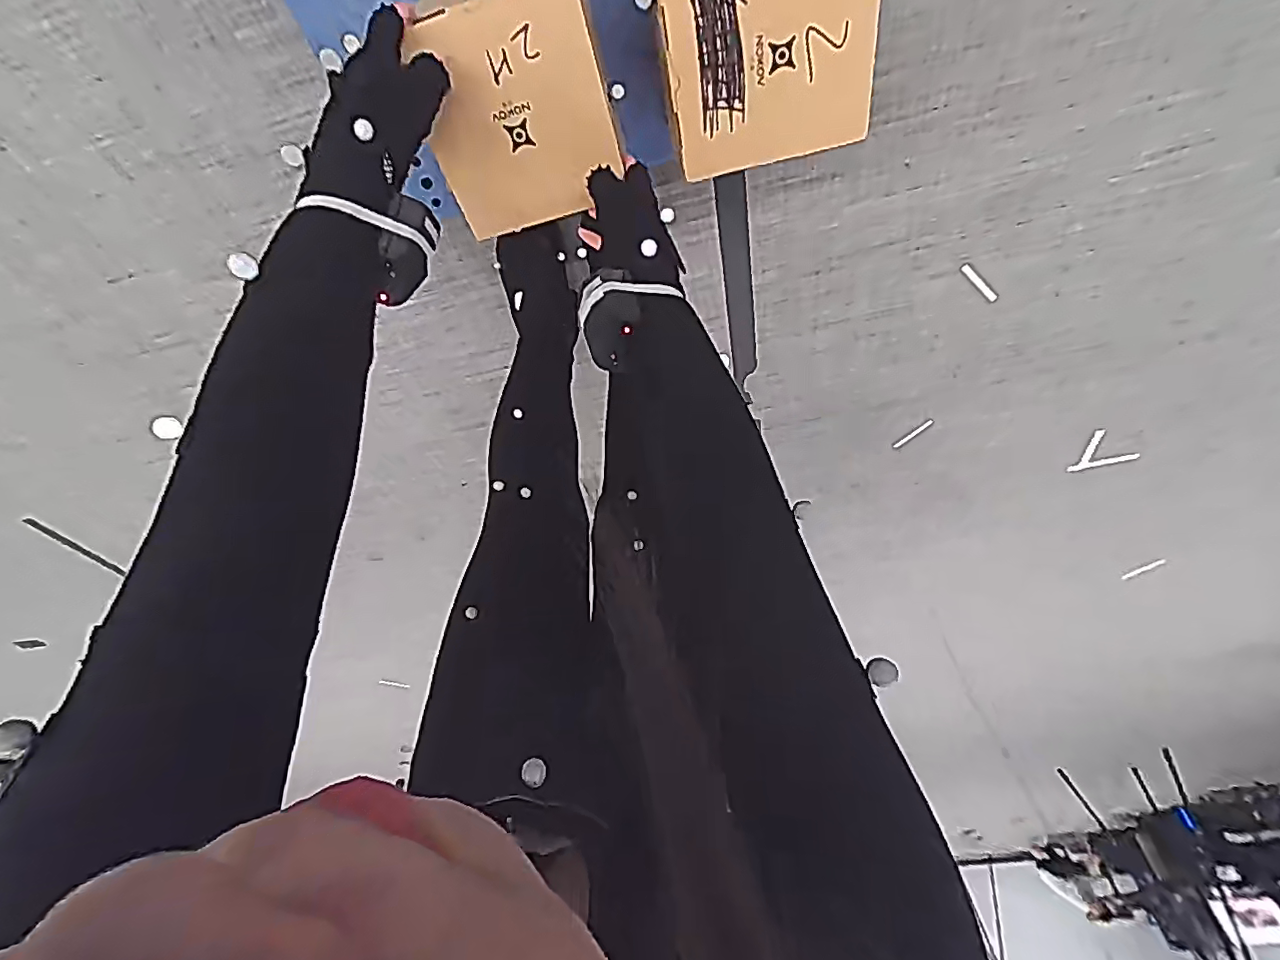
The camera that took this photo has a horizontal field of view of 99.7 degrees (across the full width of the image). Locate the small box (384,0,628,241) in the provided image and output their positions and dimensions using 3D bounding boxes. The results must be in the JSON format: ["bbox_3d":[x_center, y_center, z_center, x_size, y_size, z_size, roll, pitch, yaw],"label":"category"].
[{"bbox_3d":[-0.111,-0.376,0.537,0.168,0.176,0.179,-12,138,9],"label":"small box"}]
